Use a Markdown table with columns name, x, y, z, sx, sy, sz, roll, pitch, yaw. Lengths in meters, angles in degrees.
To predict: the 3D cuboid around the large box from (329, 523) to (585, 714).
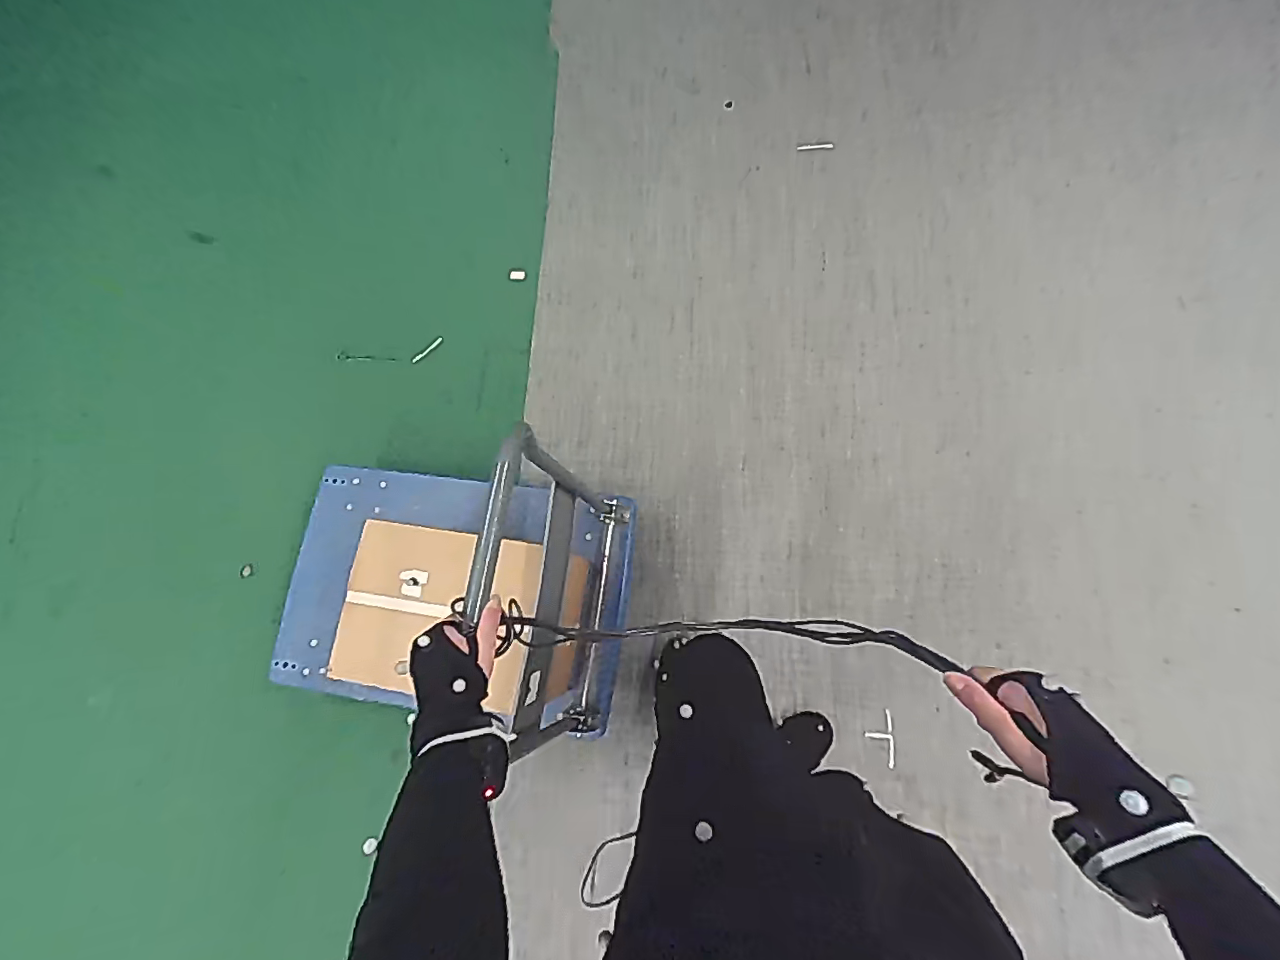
| name | x | y | z | sx | sy | sz | roll | pitch | yaw |
| --- | --- | --- | --- | --- | --- | --- | --- | --- | --- |
| large box | -0.363 | 0.288 | 1.180 | 0.408 | 0.320 | 0.320 | 7 | 77 | 10 |
